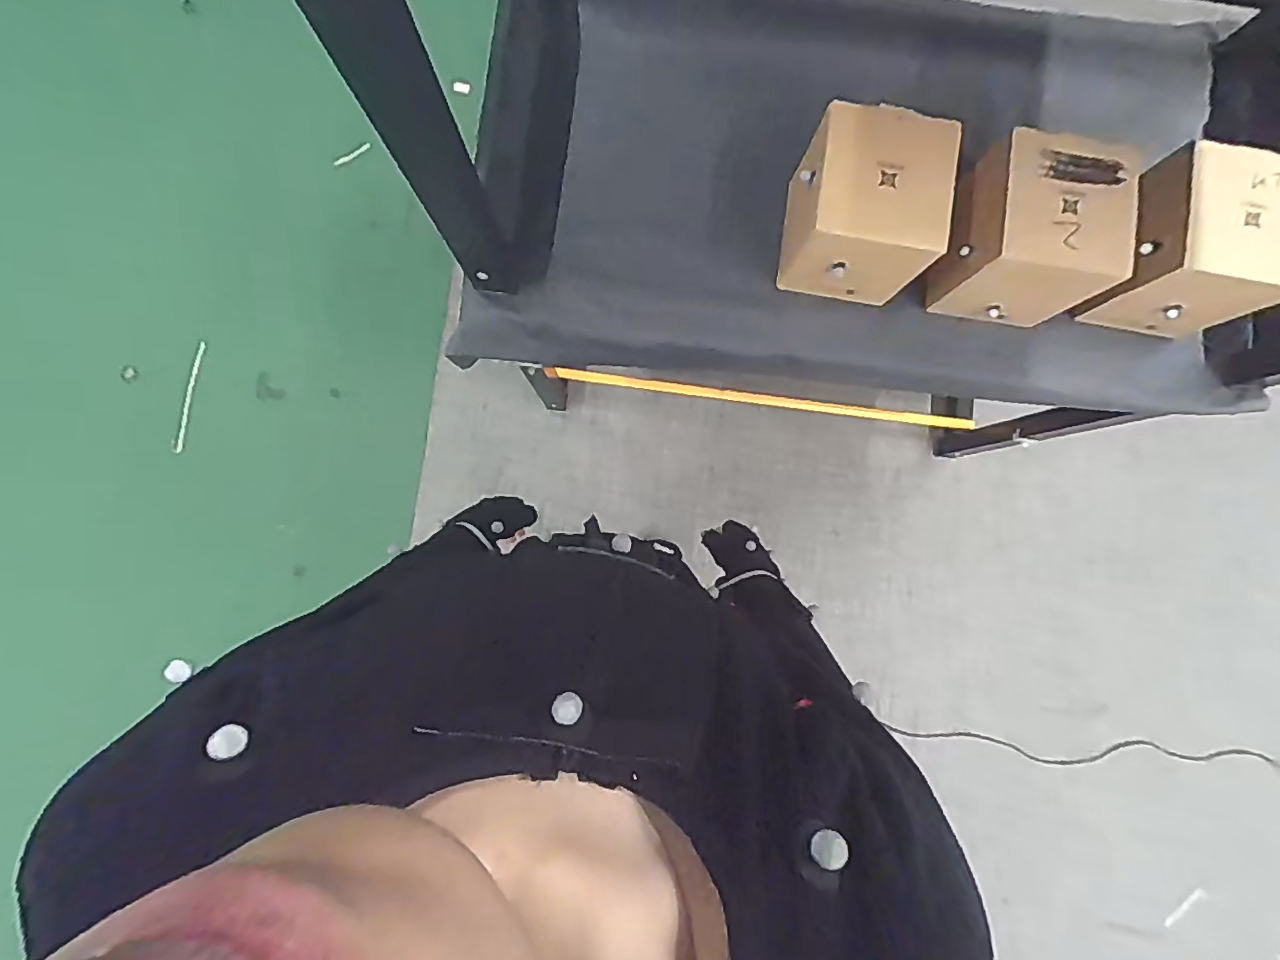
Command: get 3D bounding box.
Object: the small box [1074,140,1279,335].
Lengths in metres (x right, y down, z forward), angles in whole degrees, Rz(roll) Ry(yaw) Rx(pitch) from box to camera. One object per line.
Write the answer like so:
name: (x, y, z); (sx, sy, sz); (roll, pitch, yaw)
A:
small box: (0.750, -0.320, 0.747); (0.168, 0.176, 0.179); (11, 84, -1)

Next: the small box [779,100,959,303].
small box: (0.299, -0.365, 0.740); (0.168, 0.176, 0.179); (9, 84, -1)
